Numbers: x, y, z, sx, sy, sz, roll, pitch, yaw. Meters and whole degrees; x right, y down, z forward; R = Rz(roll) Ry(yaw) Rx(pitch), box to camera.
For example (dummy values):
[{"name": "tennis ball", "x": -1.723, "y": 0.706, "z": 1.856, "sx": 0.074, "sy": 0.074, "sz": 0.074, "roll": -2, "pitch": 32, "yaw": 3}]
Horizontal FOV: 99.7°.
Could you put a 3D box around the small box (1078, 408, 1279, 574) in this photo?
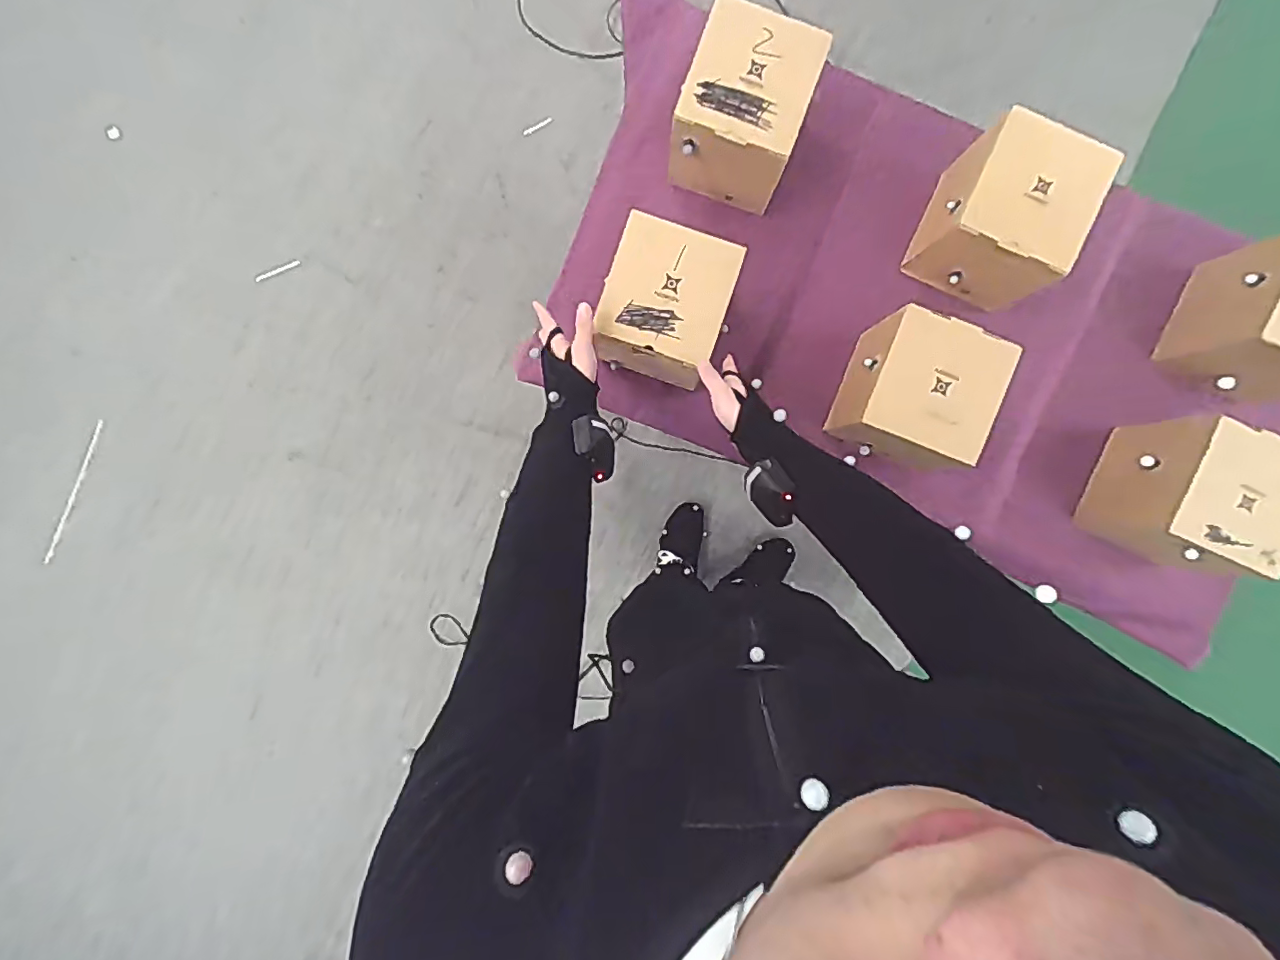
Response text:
[{"name": "small box", "x": 0.812, "y": 0.014, "z": 0.801, "sx": 0.168, "sy": 0.176, "sz": 0.179, "roll": 25, "pitch": 90, "yaw": 0}]

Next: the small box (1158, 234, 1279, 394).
[{"name": "small box", "x": 0.933, "y": -0.244, "z": 0.791, "sx": 0.168, "sy": 0.176, "sz": 0.179, "roll": 25, "pitch": 93, "yaw": 2}]

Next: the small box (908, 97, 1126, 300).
[{"name": "small box", "x": 0.531, "y": -0.395, "z": 0.791, "sx": 0.168, "sy": 0.176, "sz": 0.179, "roll": 24, "pitch": 93, "yaw": -1}]

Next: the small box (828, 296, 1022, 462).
[{"name": "small box", "x": 0.403, "y": -0.137, "z": 0.799, "sx": 0.168, "sy": 0.176, "sz": 0.179, "roll": 22, "pitch": 91, "yaw": 0}]

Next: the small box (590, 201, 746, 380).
[{"name": "small box", "x": 0.038, "y": -0.261, "z": 0.792, "sx": 0.168, "sy": 0.176, "sz": 0.179, "roll": 19, "pitch": 90, "yaw": -1}]
